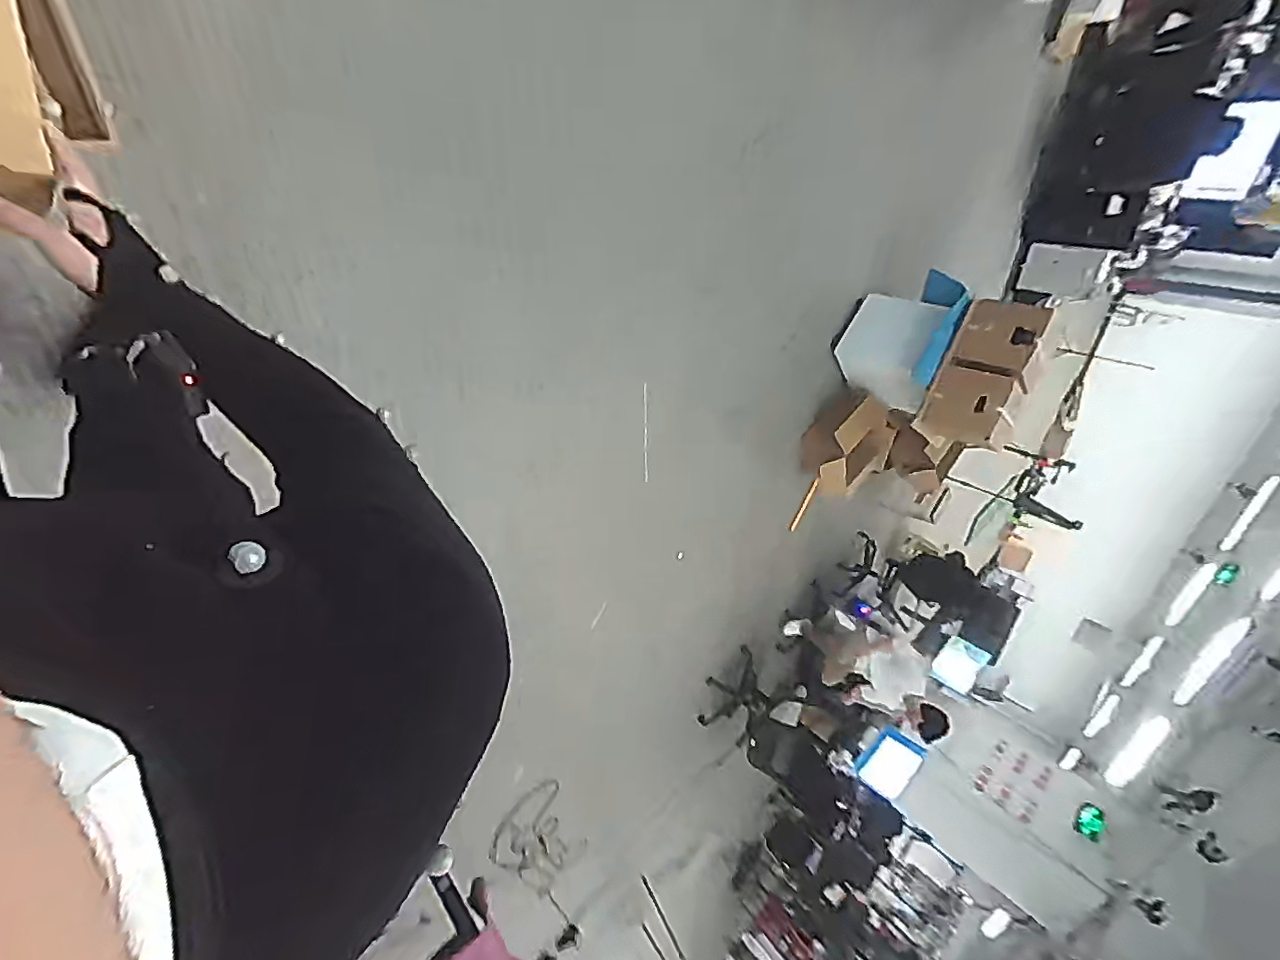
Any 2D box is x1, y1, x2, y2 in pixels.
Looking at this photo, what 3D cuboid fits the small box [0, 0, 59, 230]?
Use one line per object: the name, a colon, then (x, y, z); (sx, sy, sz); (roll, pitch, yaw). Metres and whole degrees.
small box: (-0.633, -0.336, 0.453); (0.168, 0.176, 0.179); (-15, 103, -50)
